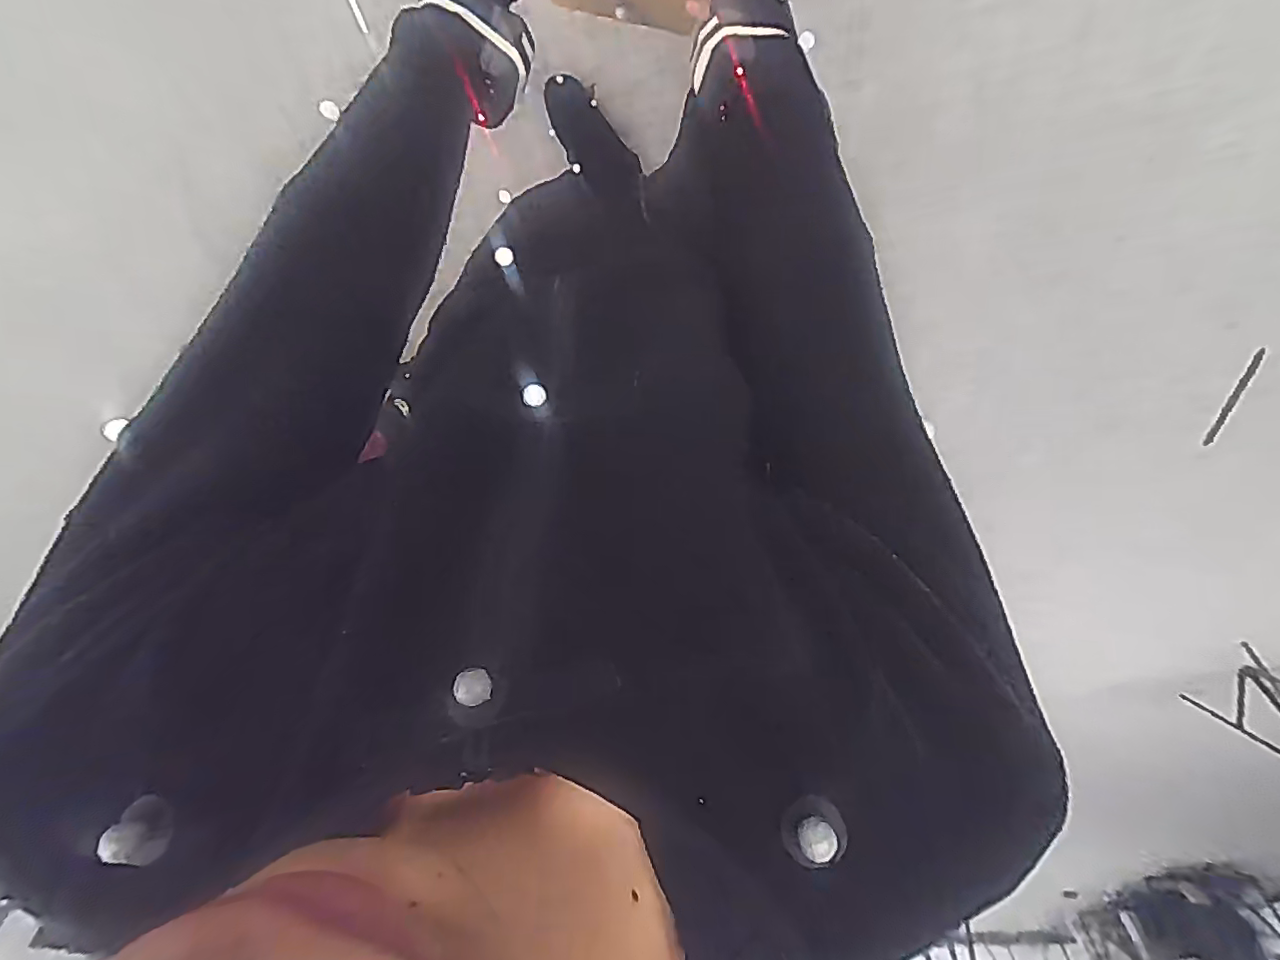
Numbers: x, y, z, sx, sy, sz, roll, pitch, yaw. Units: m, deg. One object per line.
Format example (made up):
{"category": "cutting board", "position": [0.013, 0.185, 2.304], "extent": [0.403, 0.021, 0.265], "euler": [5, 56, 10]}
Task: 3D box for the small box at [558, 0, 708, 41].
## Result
{"category": "small box", "position": [-0.001, -0.571, 0.519], "extent": [0.168, 0.176, 0.179], "euler": [7, 113, -7]}
